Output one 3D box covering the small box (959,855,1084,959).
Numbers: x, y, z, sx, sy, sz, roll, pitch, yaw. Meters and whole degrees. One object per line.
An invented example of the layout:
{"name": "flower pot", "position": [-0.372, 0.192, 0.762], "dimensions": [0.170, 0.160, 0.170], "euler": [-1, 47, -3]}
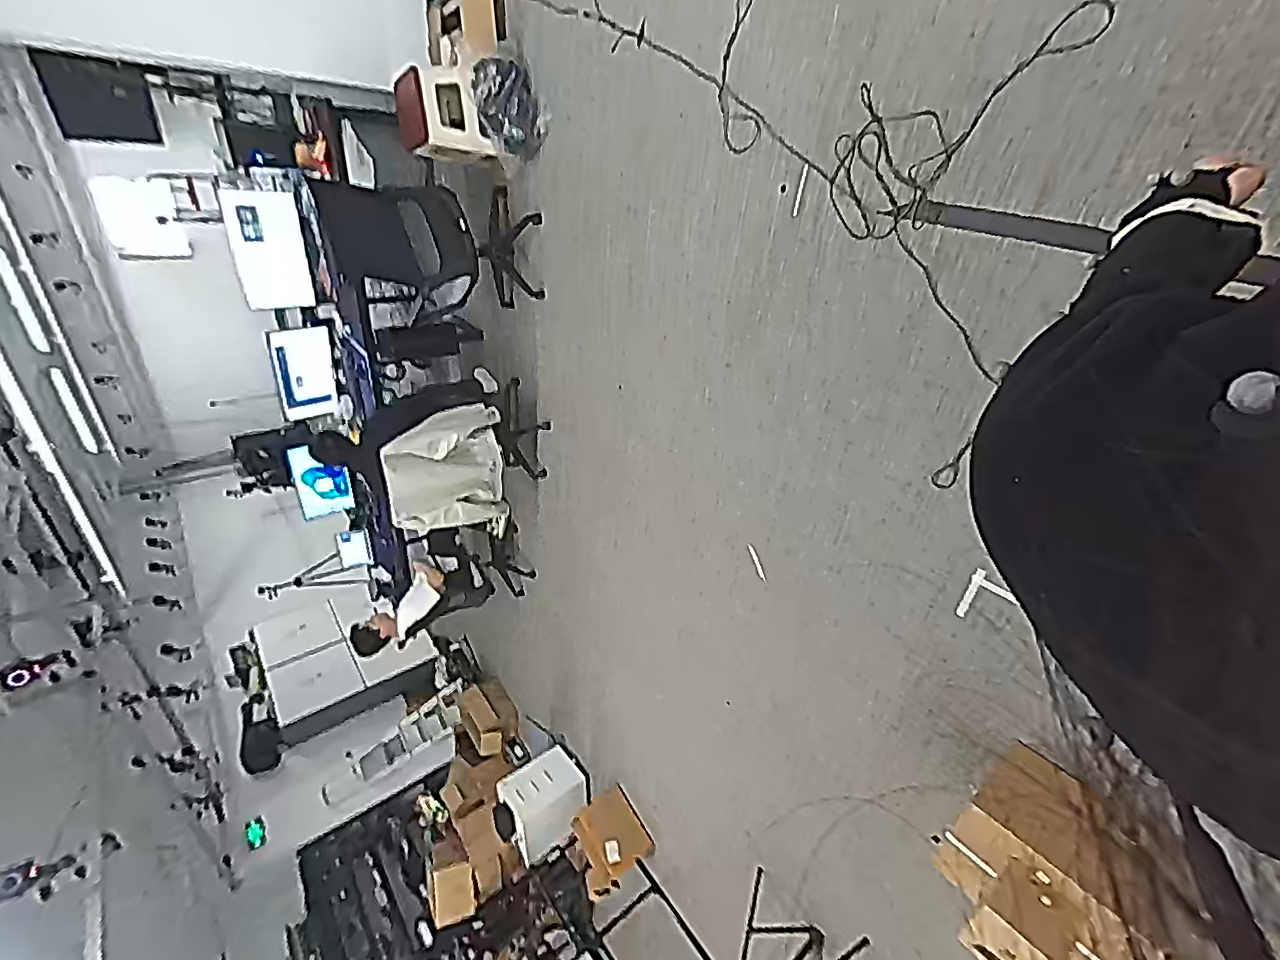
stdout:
{"name": "small box", "position": [0.897, 1.043, 1.270], "dimensions": [0.168, 0.176, 0.179], "euler": [33, 130, 40]}
